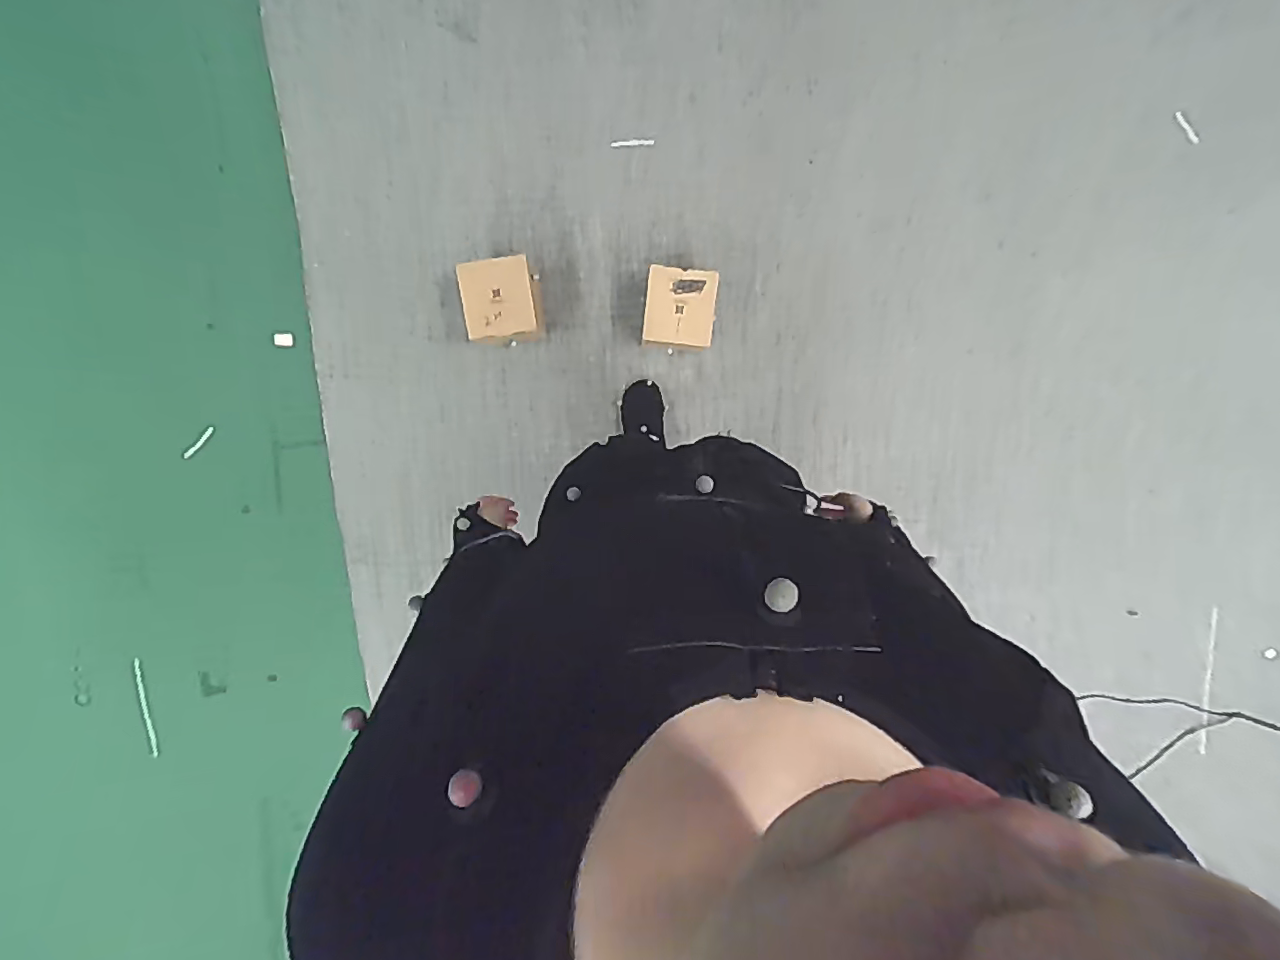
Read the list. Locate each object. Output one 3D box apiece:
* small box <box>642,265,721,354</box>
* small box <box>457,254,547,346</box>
[{"bbox_3d":[0.096,-0.416,1.340,0.168,0.176,0.179,6,99,-2],"label":"small box"},{"bbox_3d":[-0.332,-0.435,1.330,0.168,0.176,0.179,-8,99,0],"label":"small box"}]
